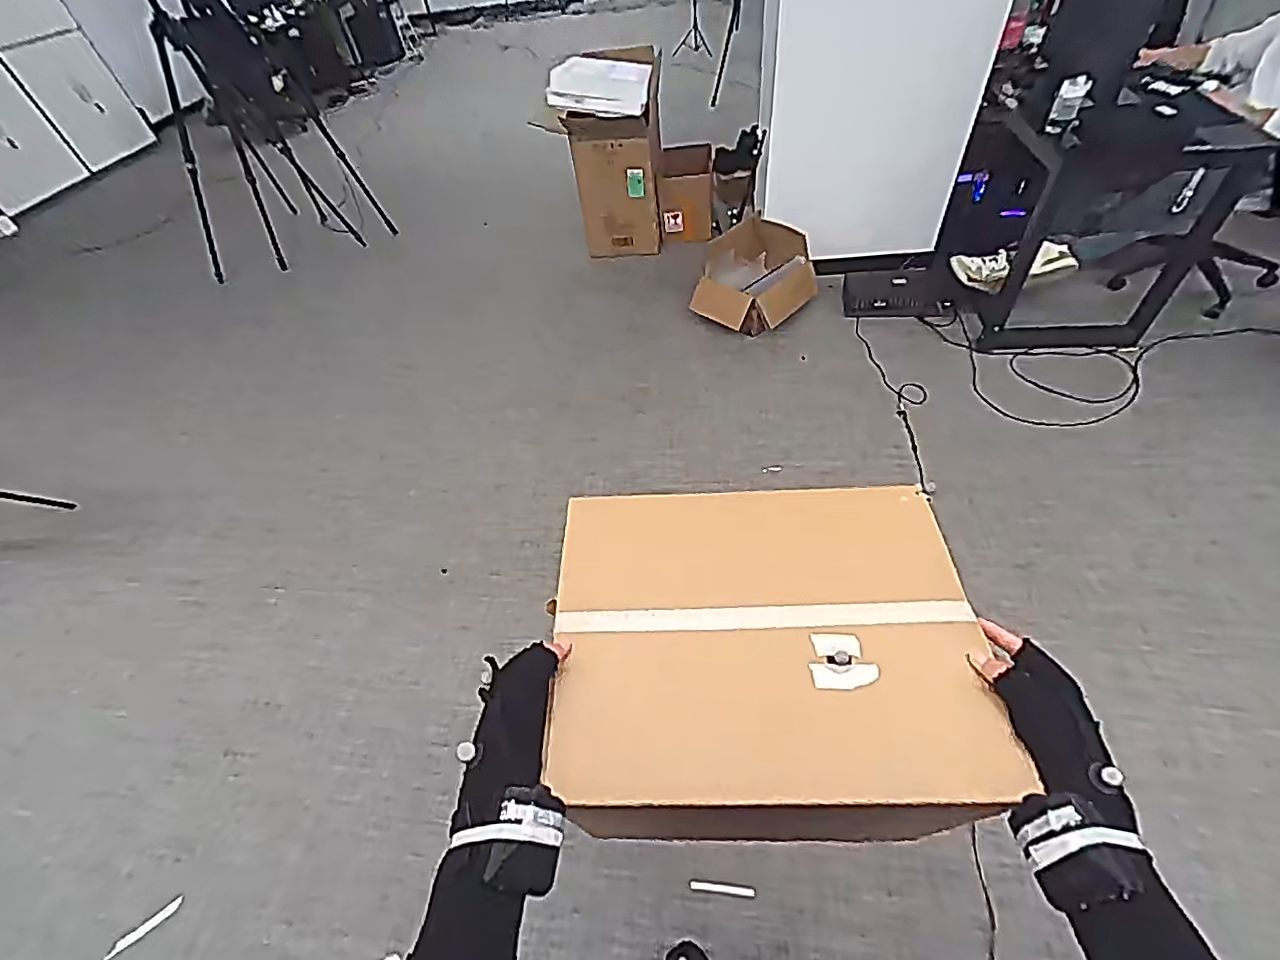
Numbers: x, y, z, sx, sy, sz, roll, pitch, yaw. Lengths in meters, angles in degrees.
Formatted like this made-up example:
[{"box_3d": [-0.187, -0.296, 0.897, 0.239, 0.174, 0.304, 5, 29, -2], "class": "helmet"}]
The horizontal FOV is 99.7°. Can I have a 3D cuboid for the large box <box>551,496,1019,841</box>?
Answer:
[{"box_3d": [0.126, 0.240, 0.663, 0.408, 0.320, 0.320, -2, 52, 3], "class": "large box"}]
